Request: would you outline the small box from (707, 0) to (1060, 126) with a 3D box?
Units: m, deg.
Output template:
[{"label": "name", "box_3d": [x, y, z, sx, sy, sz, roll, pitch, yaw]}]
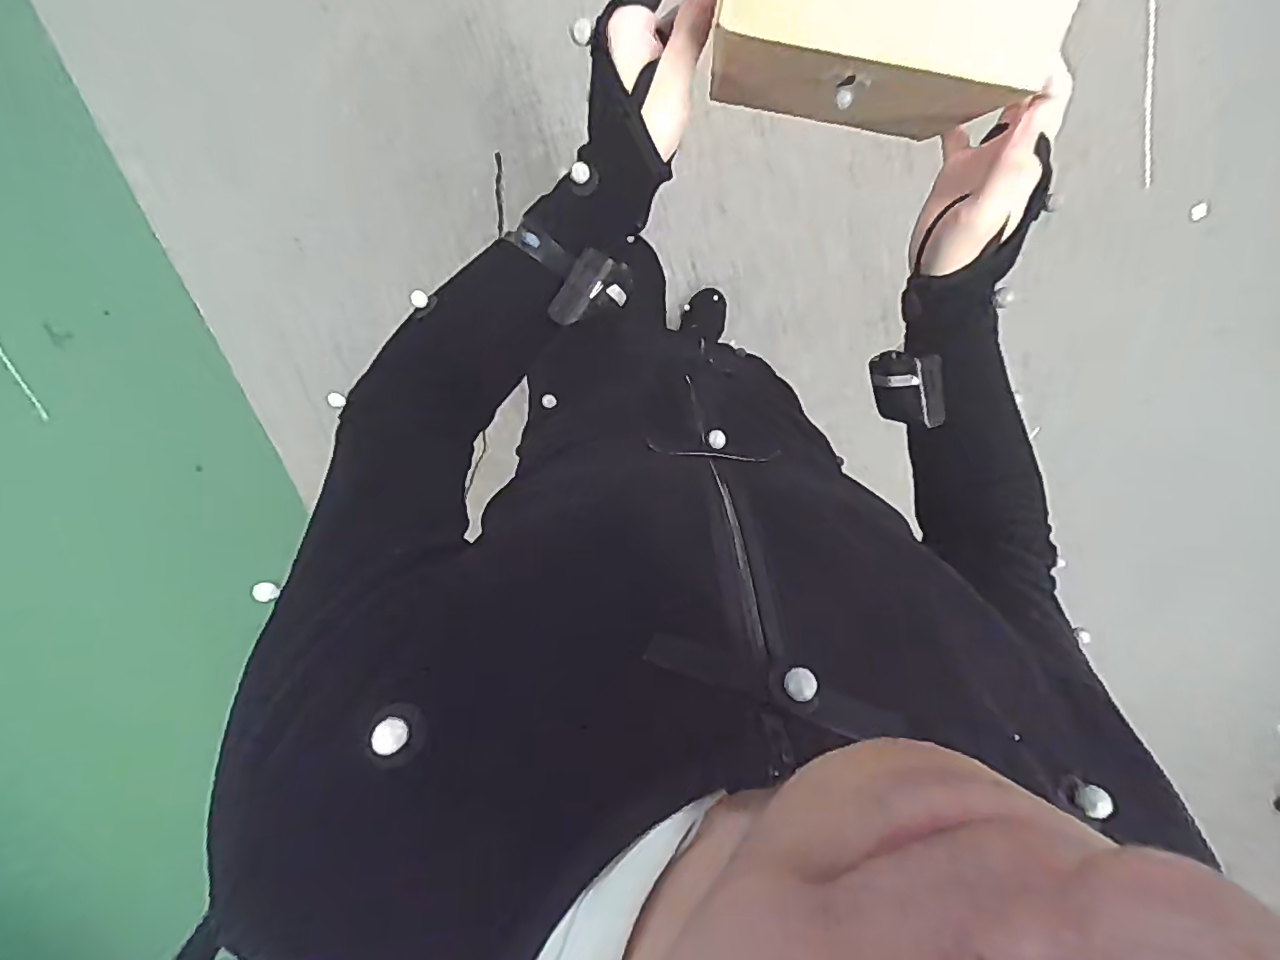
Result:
[{"label": "small box", "box_3d": [0.140, -0.332, 0.320, 0.179, 0.176, 0.168, 12, 114, 1]}]
